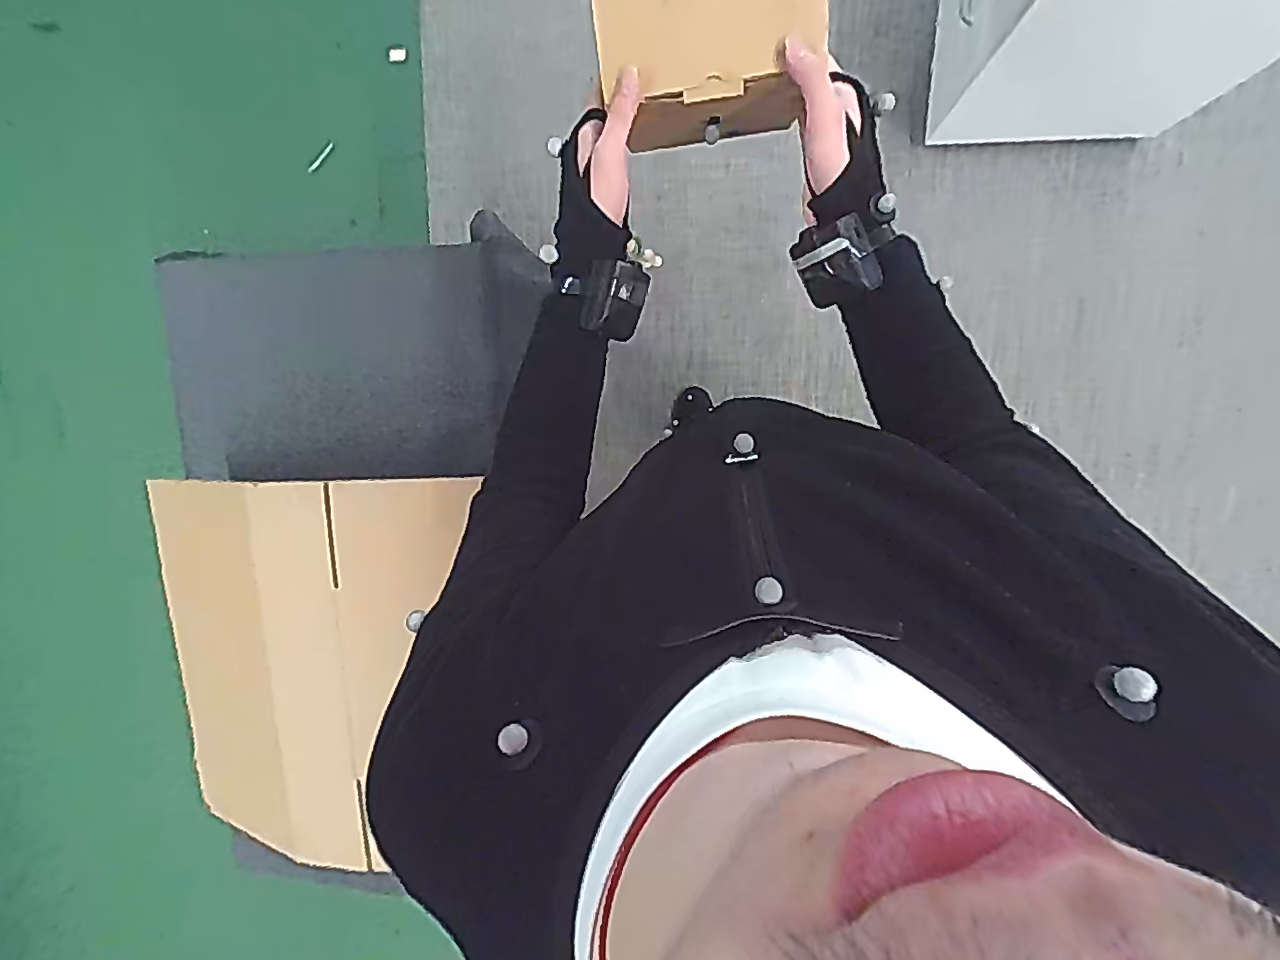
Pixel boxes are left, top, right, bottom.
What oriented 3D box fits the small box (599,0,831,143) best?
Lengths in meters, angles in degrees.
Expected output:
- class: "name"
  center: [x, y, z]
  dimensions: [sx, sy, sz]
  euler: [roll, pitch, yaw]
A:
- class: "small box"
  center: [0.058, -0.402, 0.450]
  dimensions: [0.168, 0.176, 0.179]
  euler: [-6, 109, 10]
